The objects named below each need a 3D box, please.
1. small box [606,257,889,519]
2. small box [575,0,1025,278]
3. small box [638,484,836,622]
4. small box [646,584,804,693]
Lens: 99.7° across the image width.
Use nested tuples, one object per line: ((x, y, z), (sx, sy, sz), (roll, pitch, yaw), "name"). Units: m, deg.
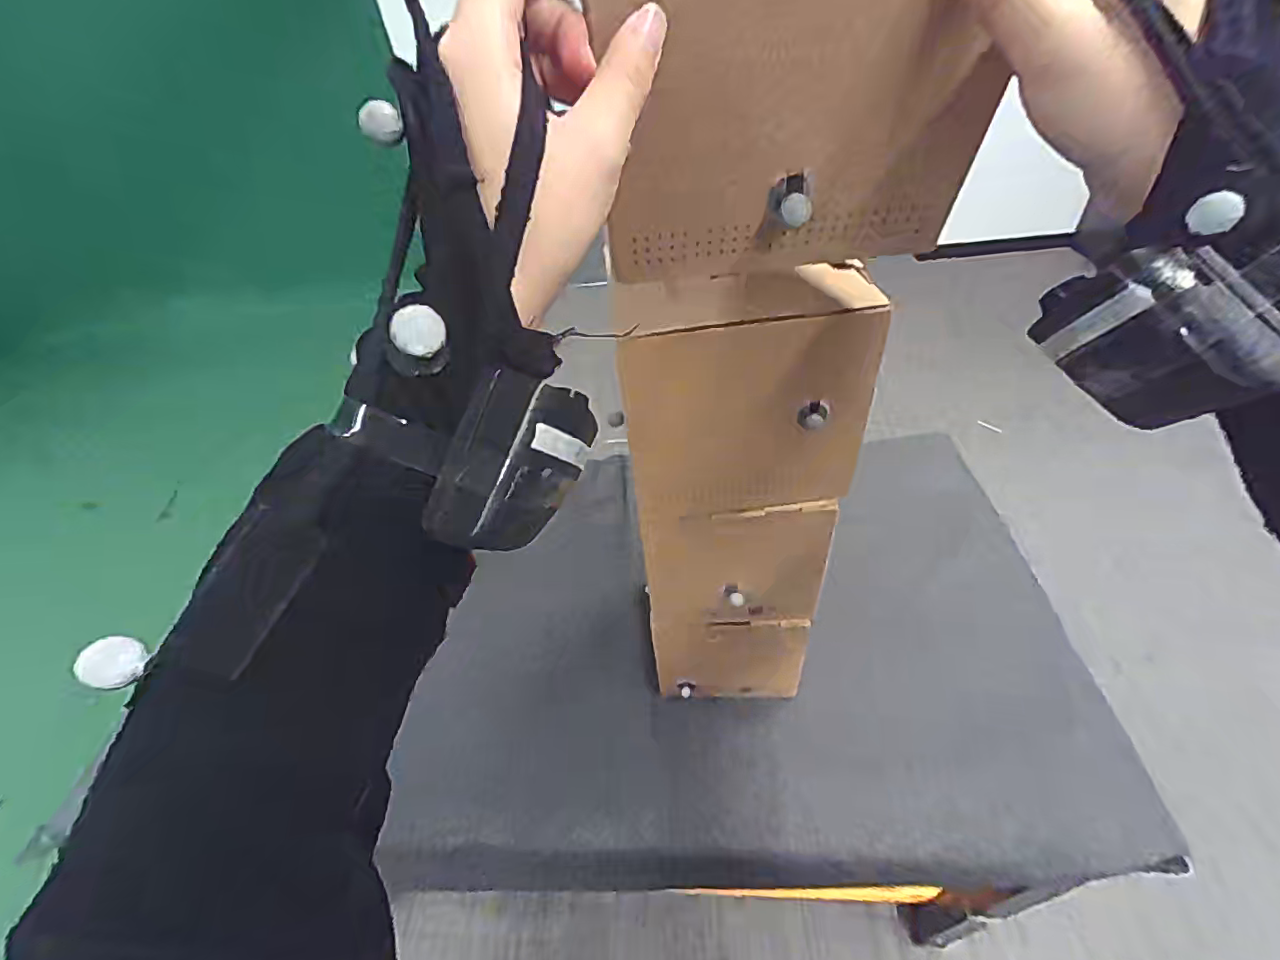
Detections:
((0.070, -0.088, 0.443), (0.179, 0.176, 0.168), (-8, 42, 1), "small box")
((0.059, -0.224, 0.267), (0.179, 0.176, 0.168), (-7, 55, 0), "small box")
((0.087, 0.025, 0.558), (0.168, 0.176, 0.179), (-4, 44, 5), "small box")
((0.101, 0.146, 0.669), (0.168, 0.176, 0.179), (-2, 43, 6), "small box")
